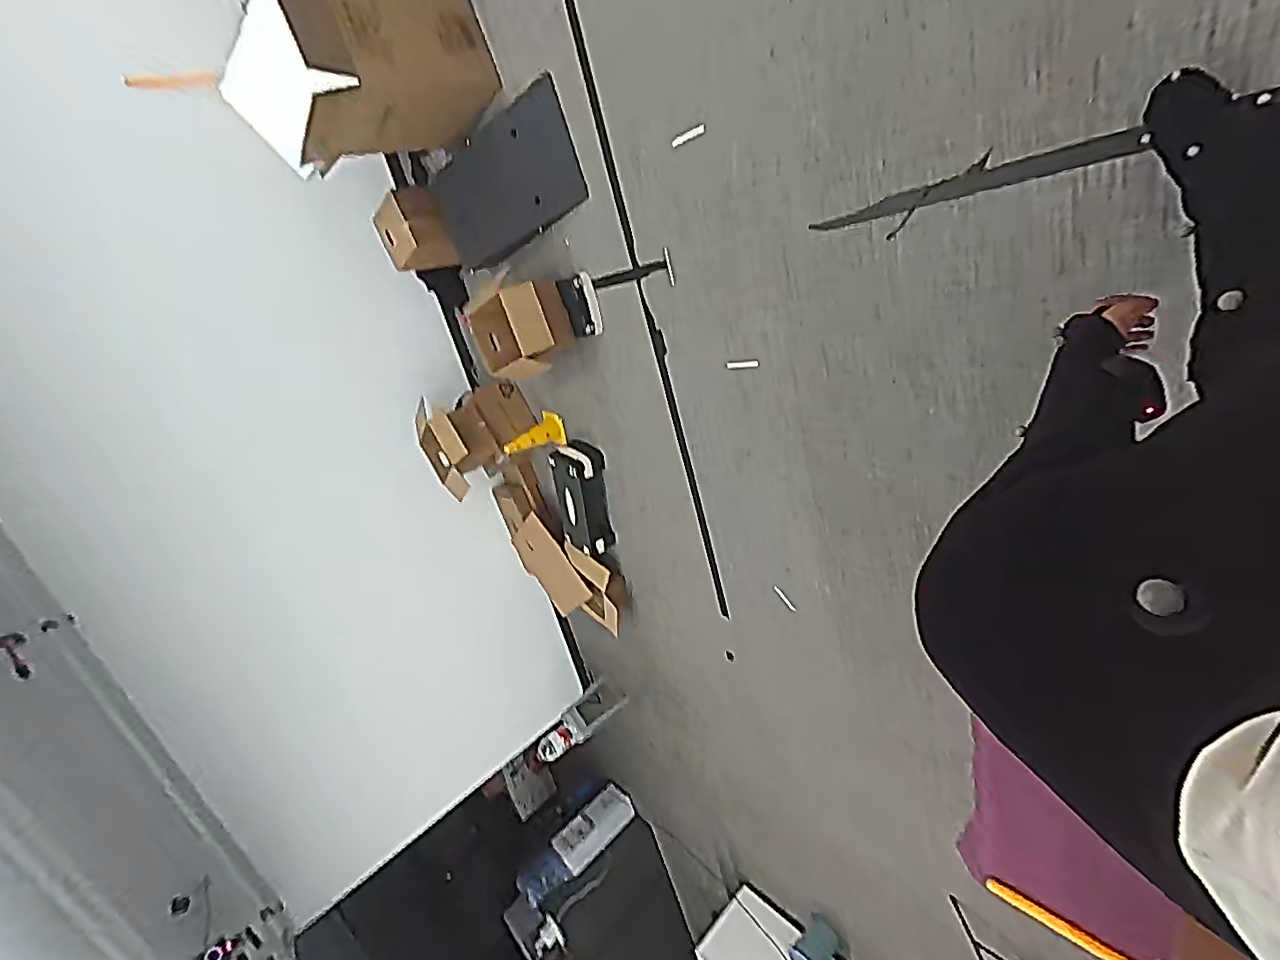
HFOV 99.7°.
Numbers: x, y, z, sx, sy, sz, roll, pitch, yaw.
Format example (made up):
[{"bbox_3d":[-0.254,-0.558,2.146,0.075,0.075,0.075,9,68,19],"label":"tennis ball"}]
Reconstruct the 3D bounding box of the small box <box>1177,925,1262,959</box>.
[{"bbox_3d":[0.960,0.870,0.849,0.179,0.176,0.168,10,120,49],"label":"small box"}]
